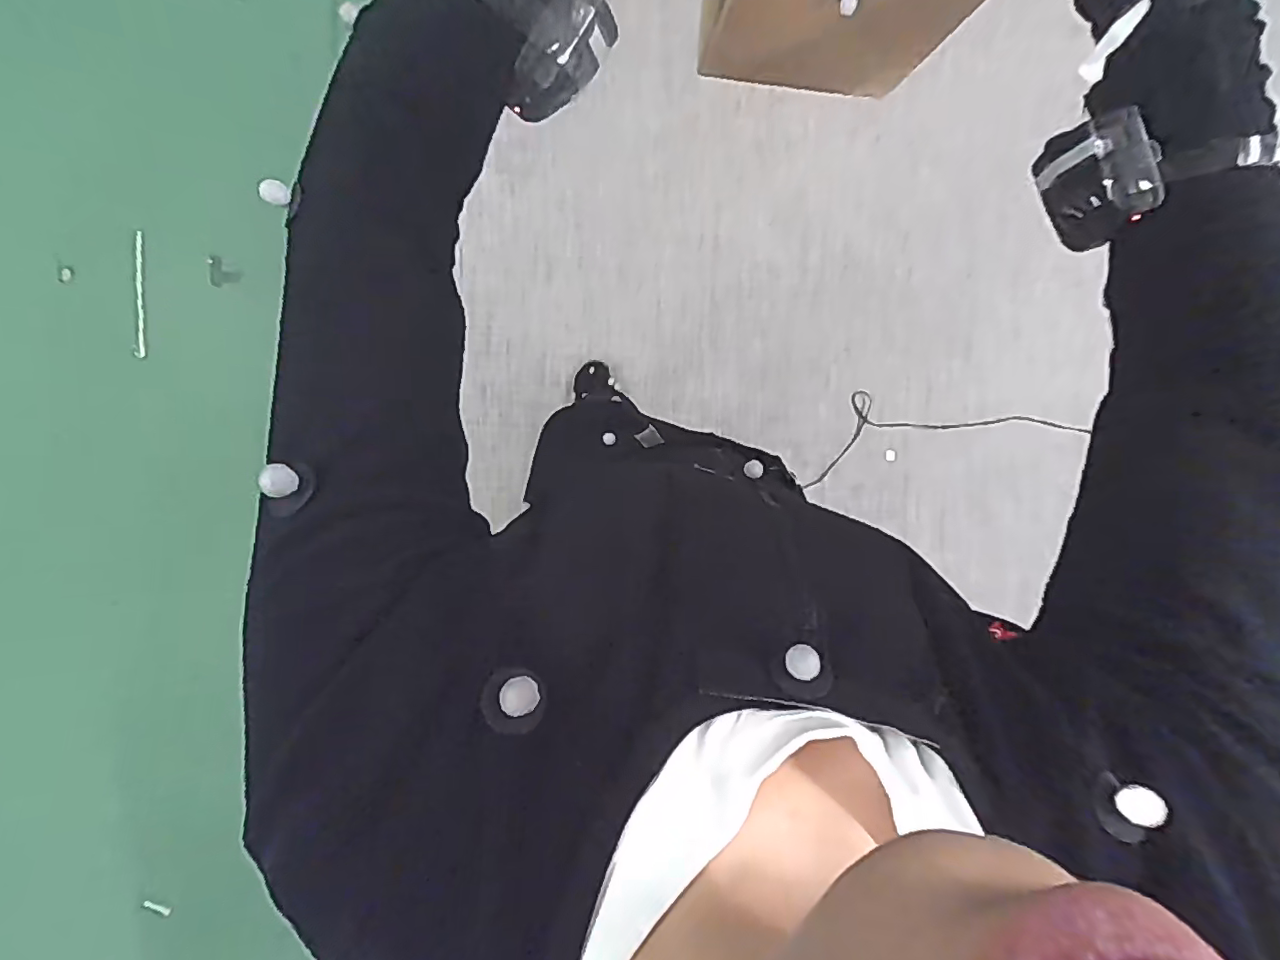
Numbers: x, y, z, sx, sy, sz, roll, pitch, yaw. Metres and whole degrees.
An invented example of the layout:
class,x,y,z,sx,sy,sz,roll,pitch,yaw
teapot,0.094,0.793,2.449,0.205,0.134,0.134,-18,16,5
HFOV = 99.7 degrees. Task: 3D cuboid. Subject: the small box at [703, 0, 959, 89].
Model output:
class,x,y,z,sx,sy,sz,roll,pitch,yaw
small box,0.149,-0.420,0.392,0.179,0.176,0.168,2,101,-7
